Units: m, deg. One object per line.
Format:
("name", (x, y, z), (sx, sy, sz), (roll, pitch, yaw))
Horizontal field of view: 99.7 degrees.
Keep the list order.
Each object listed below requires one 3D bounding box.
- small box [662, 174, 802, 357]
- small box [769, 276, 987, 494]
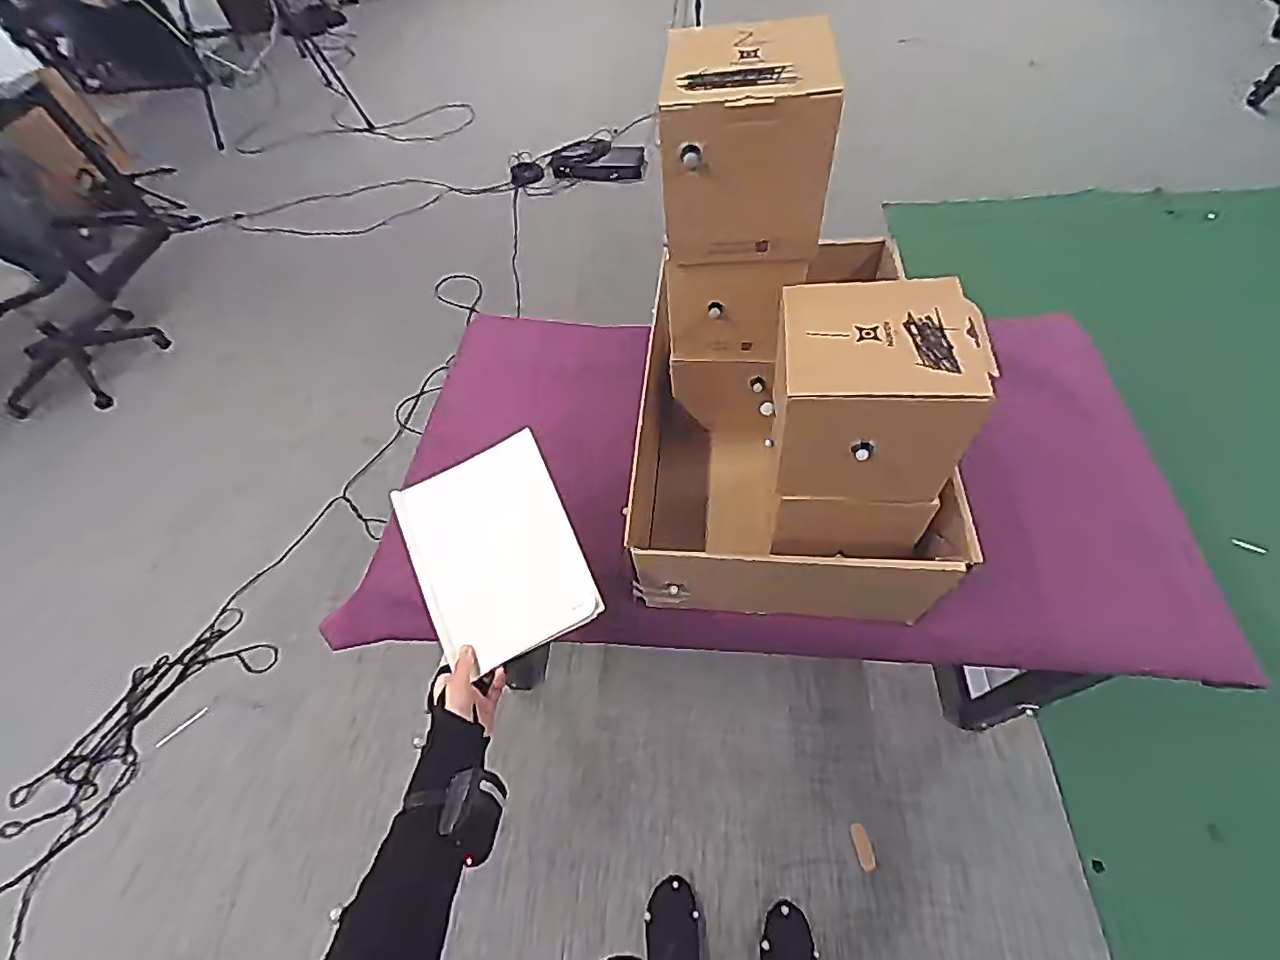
("small box", (0.126, -0.284, 0.738), (0.168, 0.176, 0.179), (2, 58, 9))
("small box", (0.236, -0.097, 0.587), (0.179, 0.176, 0.168), (1, 55, 11))
